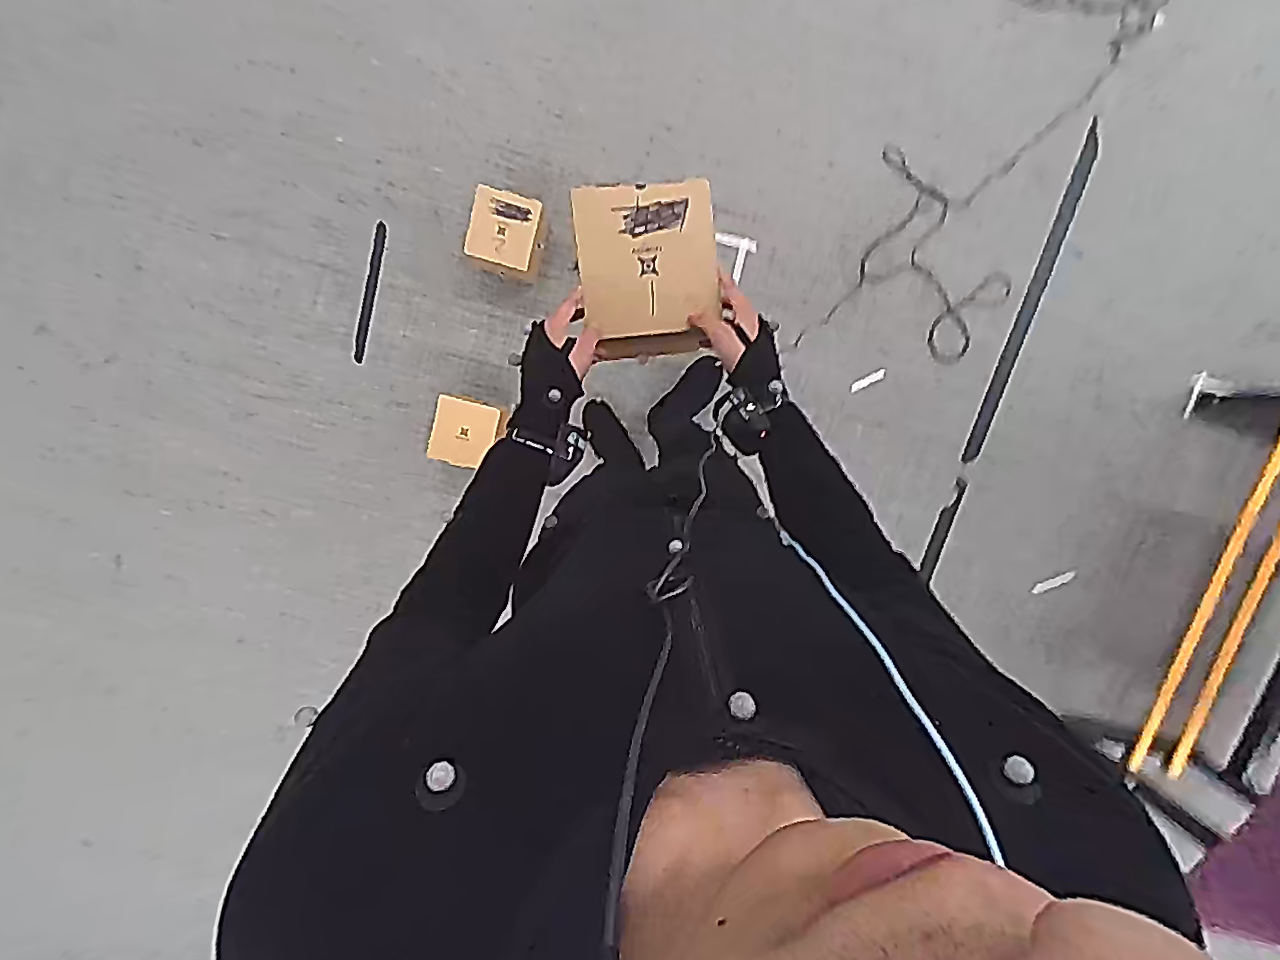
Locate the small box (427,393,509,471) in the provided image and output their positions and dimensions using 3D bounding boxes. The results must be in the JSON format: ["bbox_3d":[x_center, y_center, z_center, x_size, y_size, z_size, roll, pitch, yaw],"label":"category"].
[{"bbox_3d":[-0.474,-0.139,1.512,0.168,0.176,0.179,14,99,-5],"label":"small box"}]

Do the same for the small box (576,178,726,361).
[{"bbox_3d":[0.005,-0.263,0.709,0.168,0.176,0.179,-7,94,-5],"label":"small box"}]
